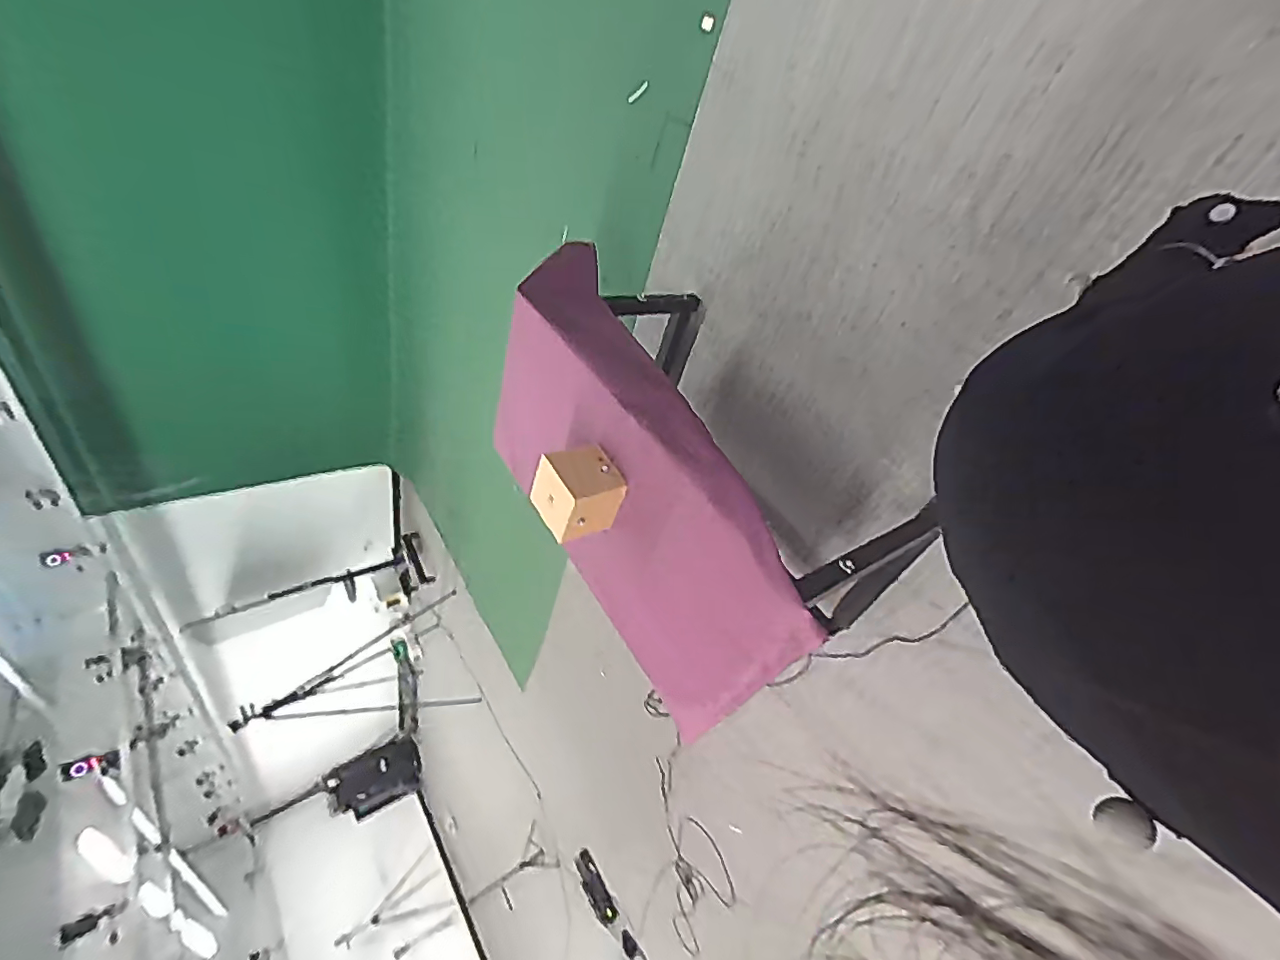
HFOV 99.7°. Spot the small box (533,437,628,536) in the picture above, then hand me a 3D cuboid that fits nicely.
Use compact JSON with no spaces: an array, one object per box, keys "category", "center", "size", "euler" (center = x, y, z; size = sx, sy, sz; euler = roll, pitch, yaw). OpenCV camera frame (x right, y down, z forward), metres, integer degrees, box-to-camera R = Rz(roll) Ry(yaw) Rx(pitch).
[{"category":"small box","center":[-0.154,0.013,1.403],"size":[0.168,0.176,0.179],"euler":[53,138,26]}]
